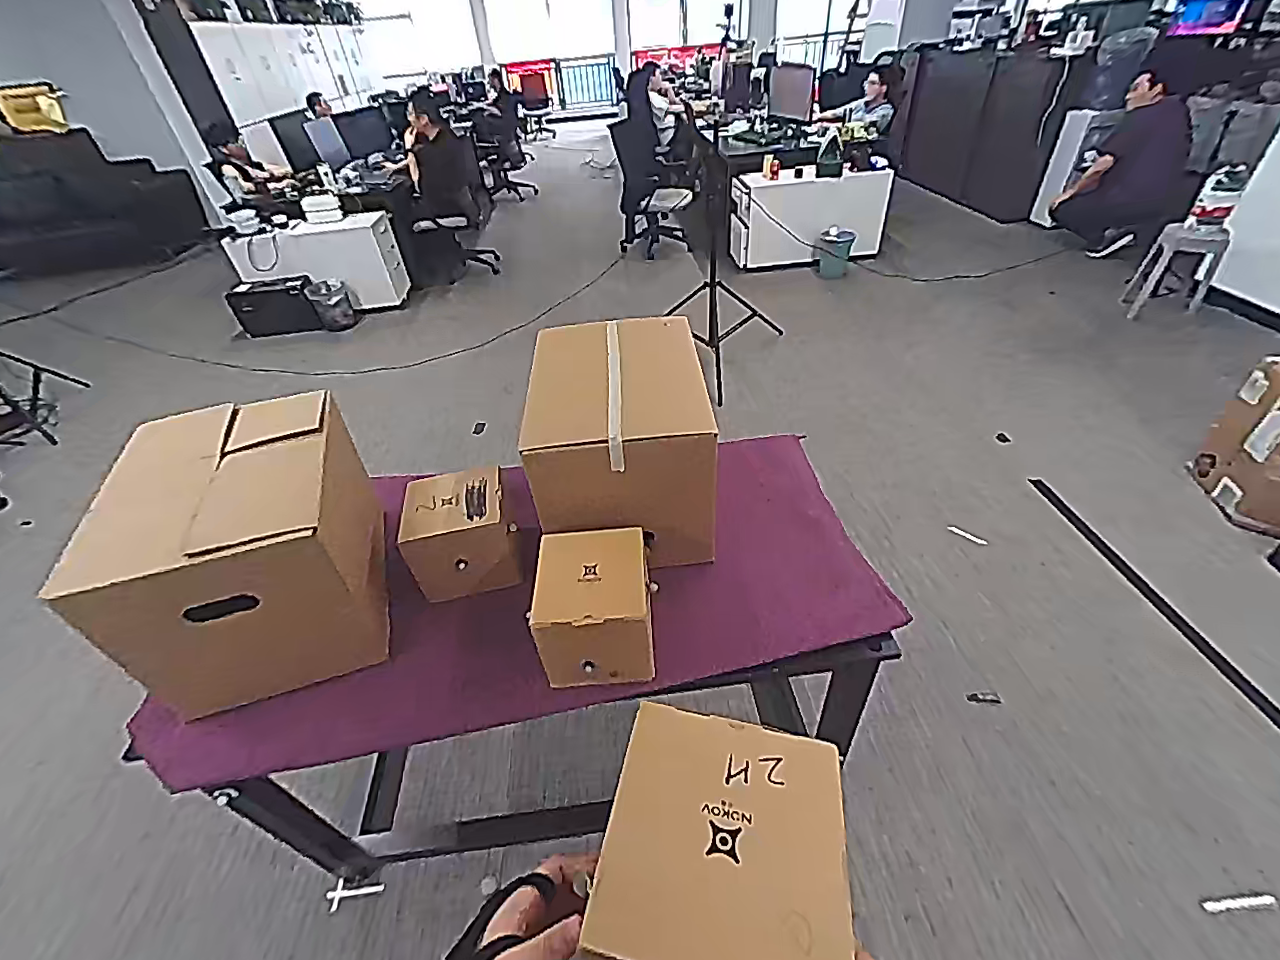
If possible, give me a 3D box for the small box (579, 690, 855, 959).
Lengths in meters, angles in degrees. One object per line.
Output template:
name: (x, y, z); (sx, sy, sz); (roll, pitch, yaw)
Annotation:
small box: (0.059, 0.305, 0.424); (0.168, 0.176, 0.179); (9, 33, 10)
